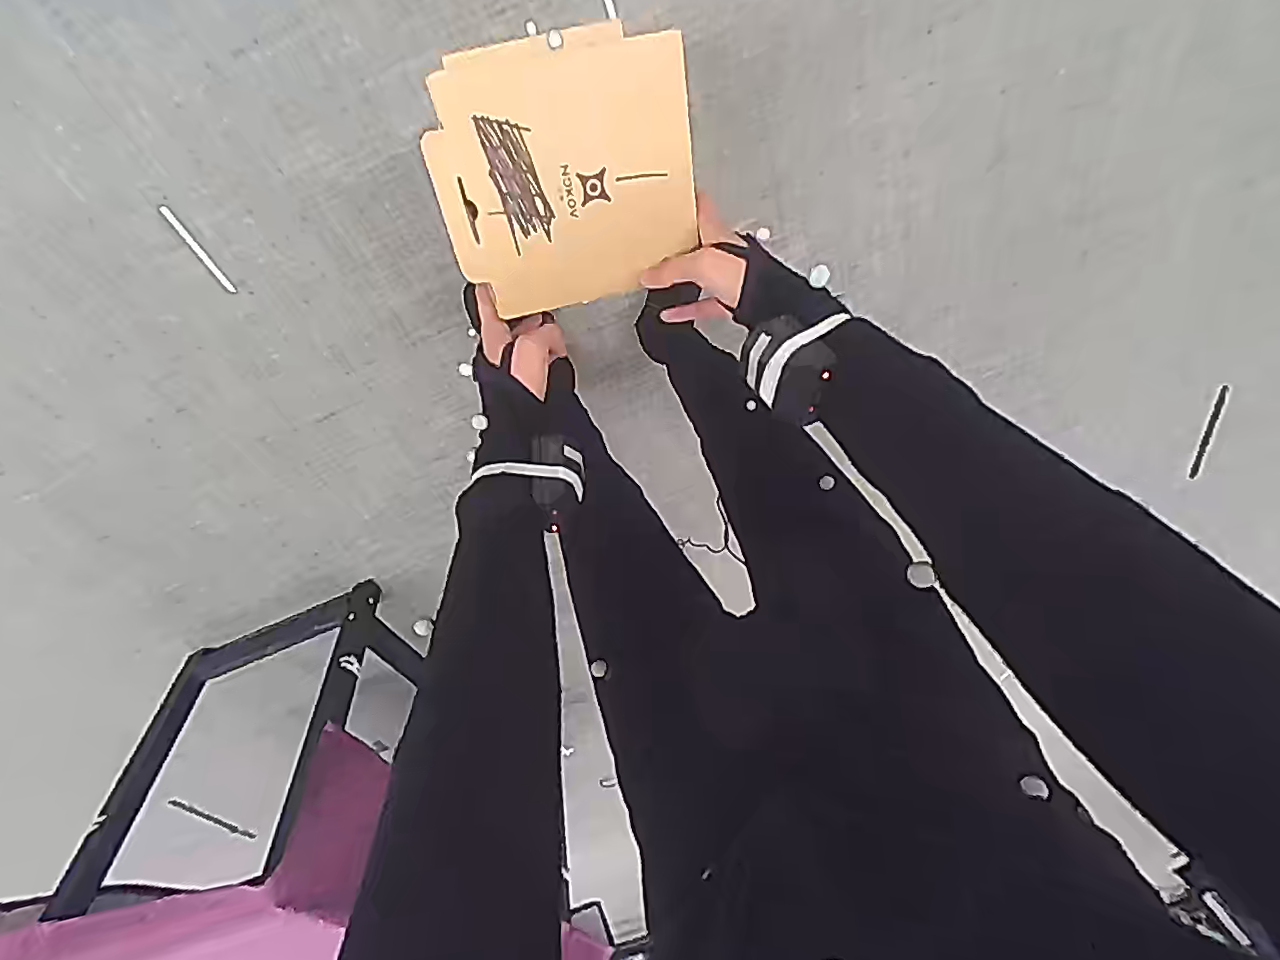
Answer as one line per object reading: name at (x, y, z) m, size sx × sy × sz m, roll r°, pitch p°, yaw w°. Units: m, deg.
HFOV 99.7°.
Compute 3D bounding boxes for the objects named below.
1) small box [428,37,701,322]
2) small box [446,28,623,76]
small box at (-0.060, -0.256, 0.470) m, size 0.179 × 0.176 × 0.168 m, roll -15°, pitch 125°, yaw -5°
small box at (-0.098, -0.364, 0.596) m, size 0.168 × 0.176 × 0.179 m, roll -14°, pitch 127°, yaw -3°
